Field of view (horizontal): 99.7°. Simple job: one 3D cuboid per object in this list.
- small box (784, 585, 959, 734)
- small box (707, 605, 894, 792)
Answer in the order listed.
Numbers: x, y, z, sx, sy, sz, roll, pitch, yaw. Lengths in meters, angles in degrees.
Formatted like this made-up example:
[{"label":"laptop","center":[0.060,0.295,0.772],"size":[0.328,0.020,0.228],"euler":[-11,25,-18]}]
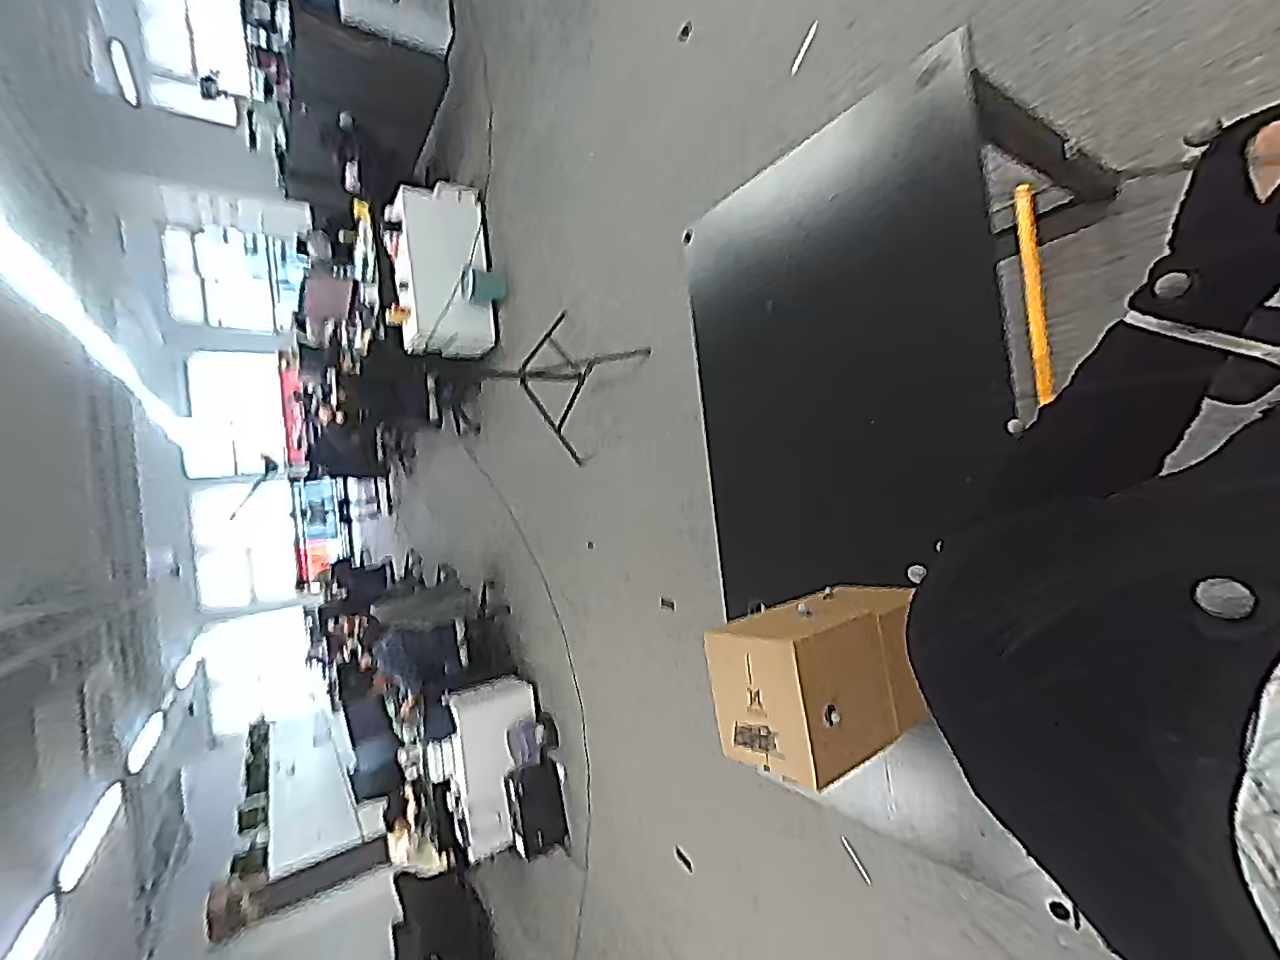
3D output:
[{"label":"small box","center":[0.352,0.263,0.836],"size":[0.179,0.176,0.168],"euler":[-15,84,55]},{"label":"small box","center":[0.220,0.280,0.740],"size":[0.168,0.176,0.179],"euler":[-16,83,56]}]
